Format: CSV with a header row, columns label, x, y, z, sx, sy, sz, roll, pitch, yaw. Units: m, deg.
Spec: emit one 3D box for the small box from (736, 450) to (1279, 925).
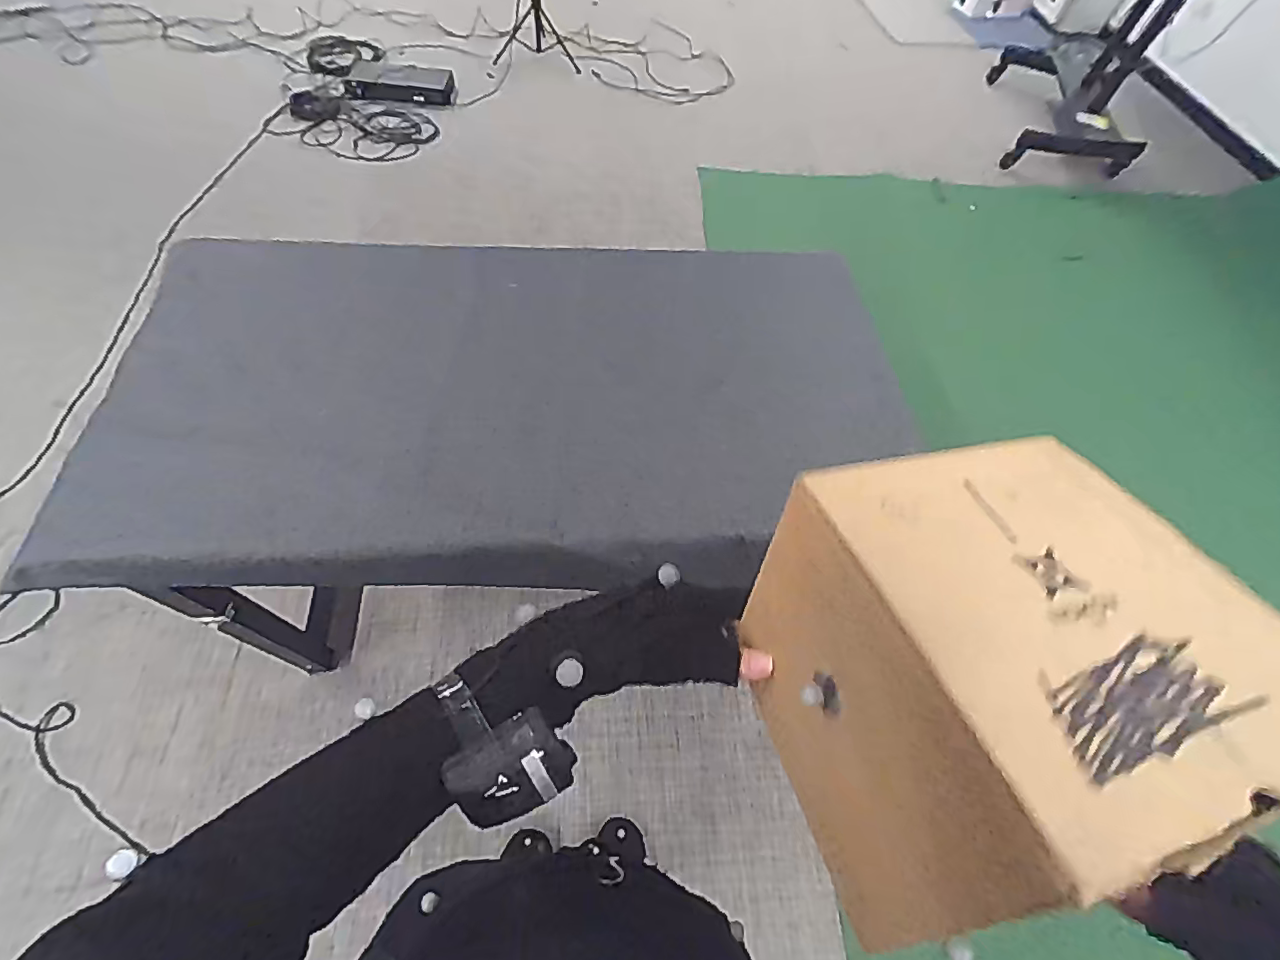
label,x,y,z,sx,sy,sz,roll,pitch,yaw
small box,0.170,0.109,0.293,0.168,0.176,0.179,-7,45,-14
